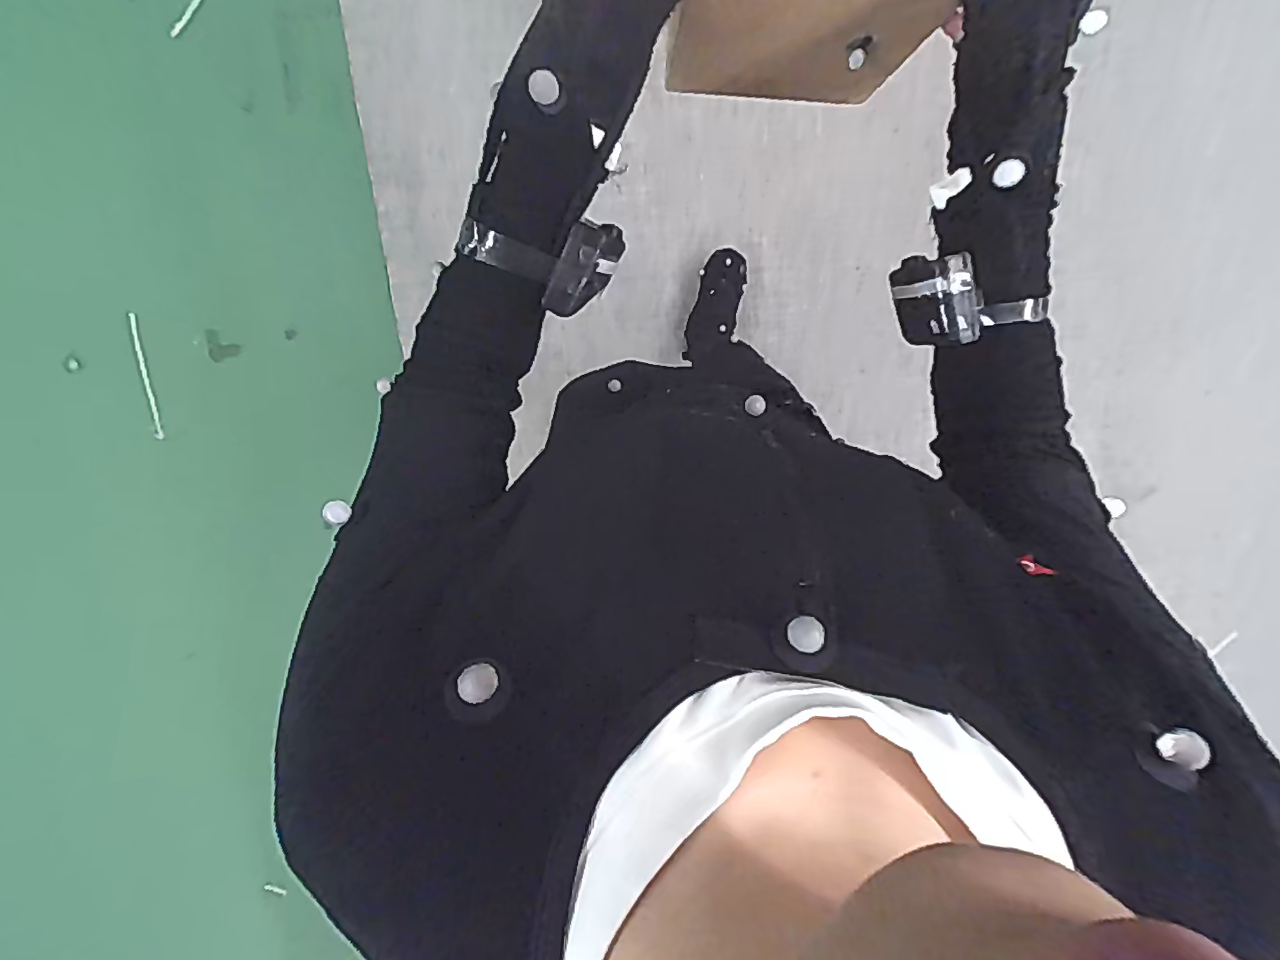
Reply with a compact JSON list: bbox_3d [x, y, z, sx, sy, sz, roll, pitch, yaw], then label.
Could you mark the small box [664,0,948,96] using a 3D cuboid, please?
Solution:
[{"bbox_3d":[0.113,-0.398,0.374,0.179,0.176,0.168,1,101,-2],"label":"small box"}]
